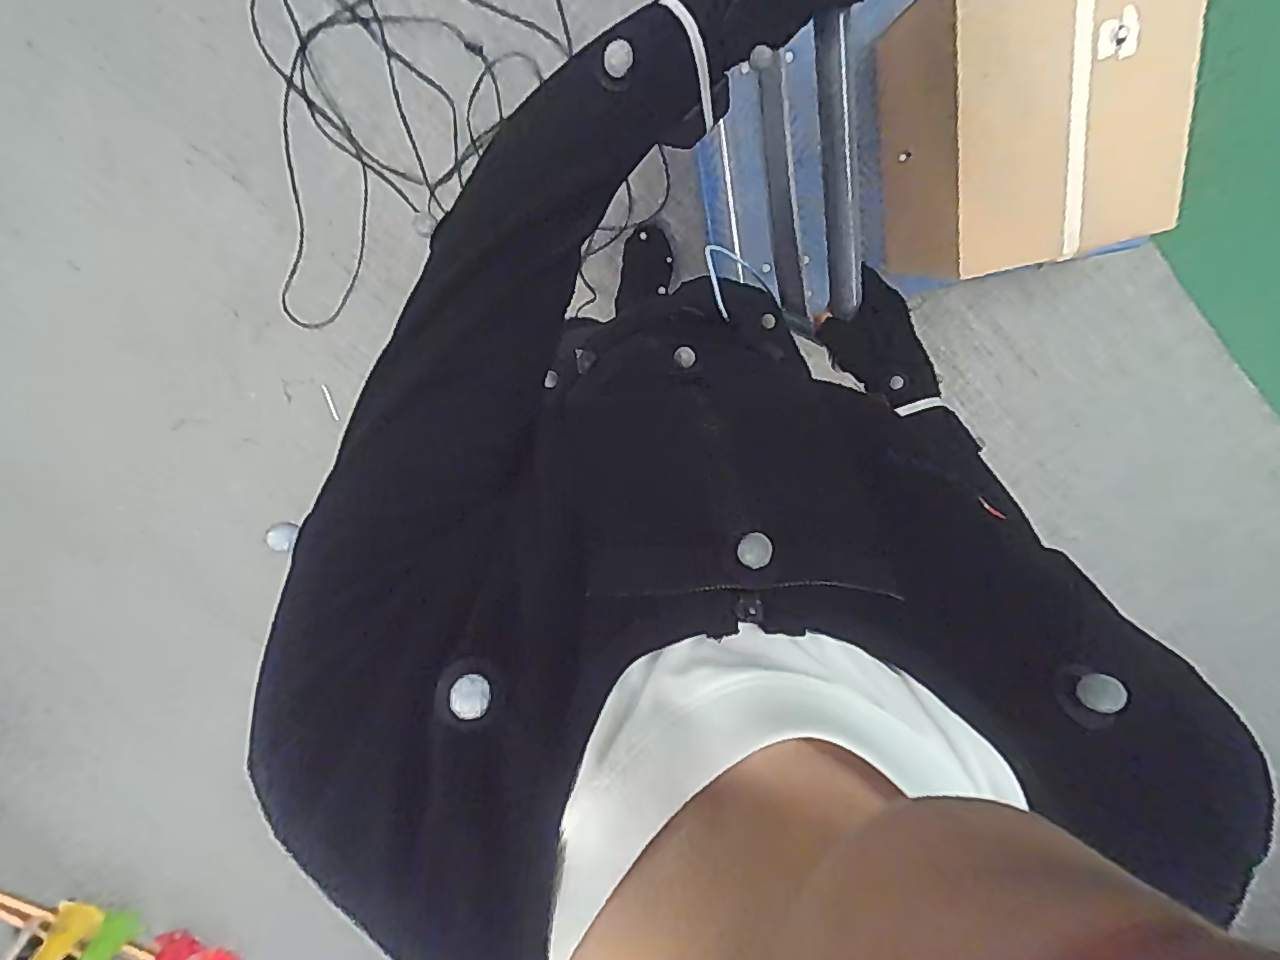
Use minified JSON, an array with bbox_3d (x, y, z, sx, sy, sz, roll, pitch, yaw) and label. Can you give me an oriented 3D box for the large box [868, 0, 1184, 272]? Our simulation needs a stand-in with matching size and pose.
[{"bbox_3d":[0.600,-0.596,0.901,0.320,0.320,0.408,-12,112,7],"label":"large box"}]
